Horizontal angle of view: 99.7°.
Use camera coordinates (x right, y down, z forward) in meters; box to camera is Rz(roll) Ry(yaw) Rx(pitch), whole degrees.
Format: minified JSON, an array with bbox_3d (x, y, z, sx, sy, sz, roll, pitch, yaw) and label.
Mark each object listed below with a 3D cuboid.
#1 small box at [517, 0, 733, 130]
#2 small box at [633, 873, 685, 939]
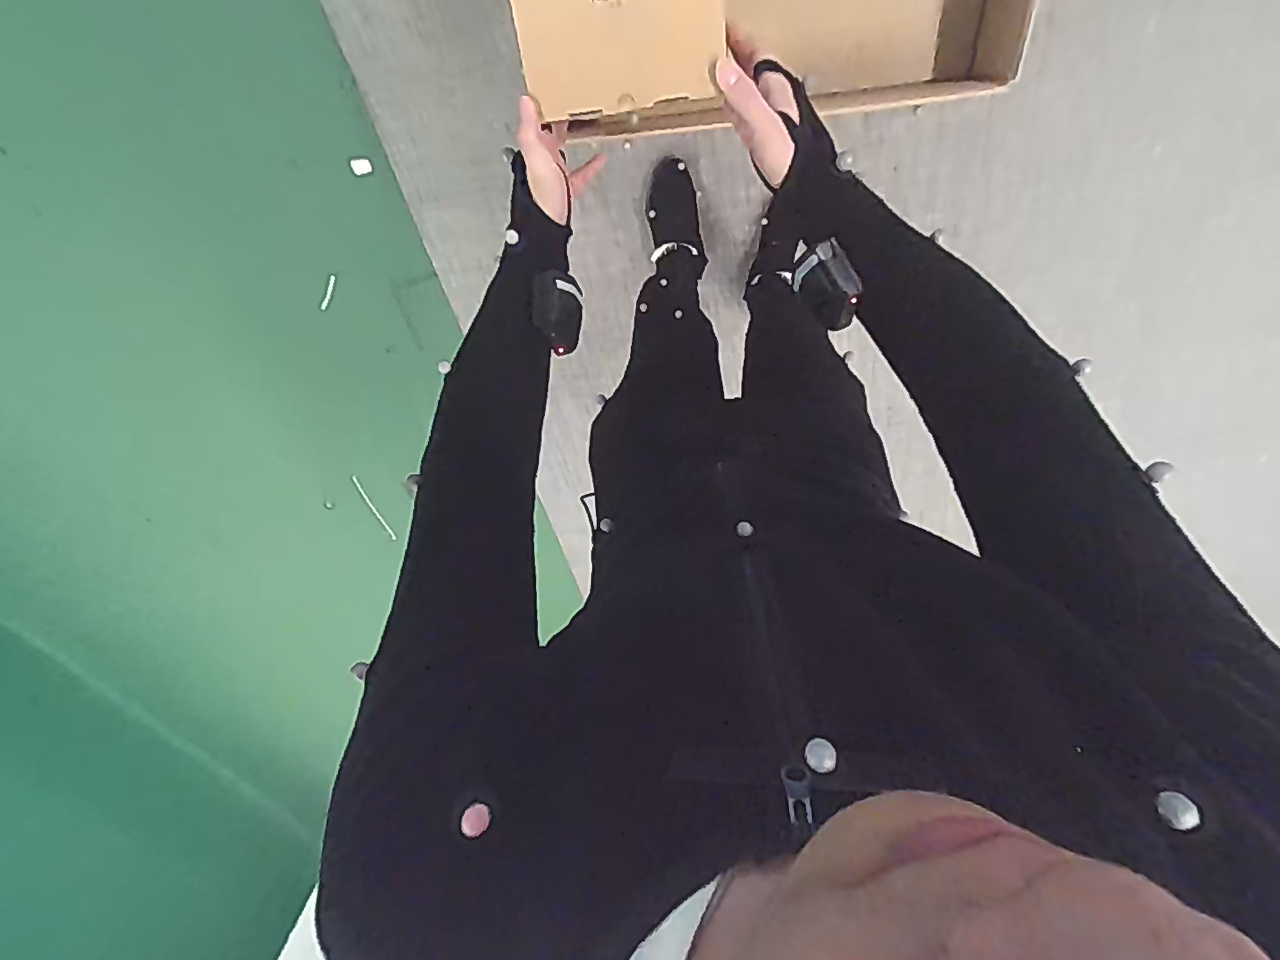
[{"bbox_3d":[-0.007,-0.420,0.468,0.168,0.176,0.179,-2,127,9],"label":"small box"},{"bbox_3d":[0.079,1.627,2.072,0.168,0.176,0.179,-7,127,11],"label":"small box"}]
